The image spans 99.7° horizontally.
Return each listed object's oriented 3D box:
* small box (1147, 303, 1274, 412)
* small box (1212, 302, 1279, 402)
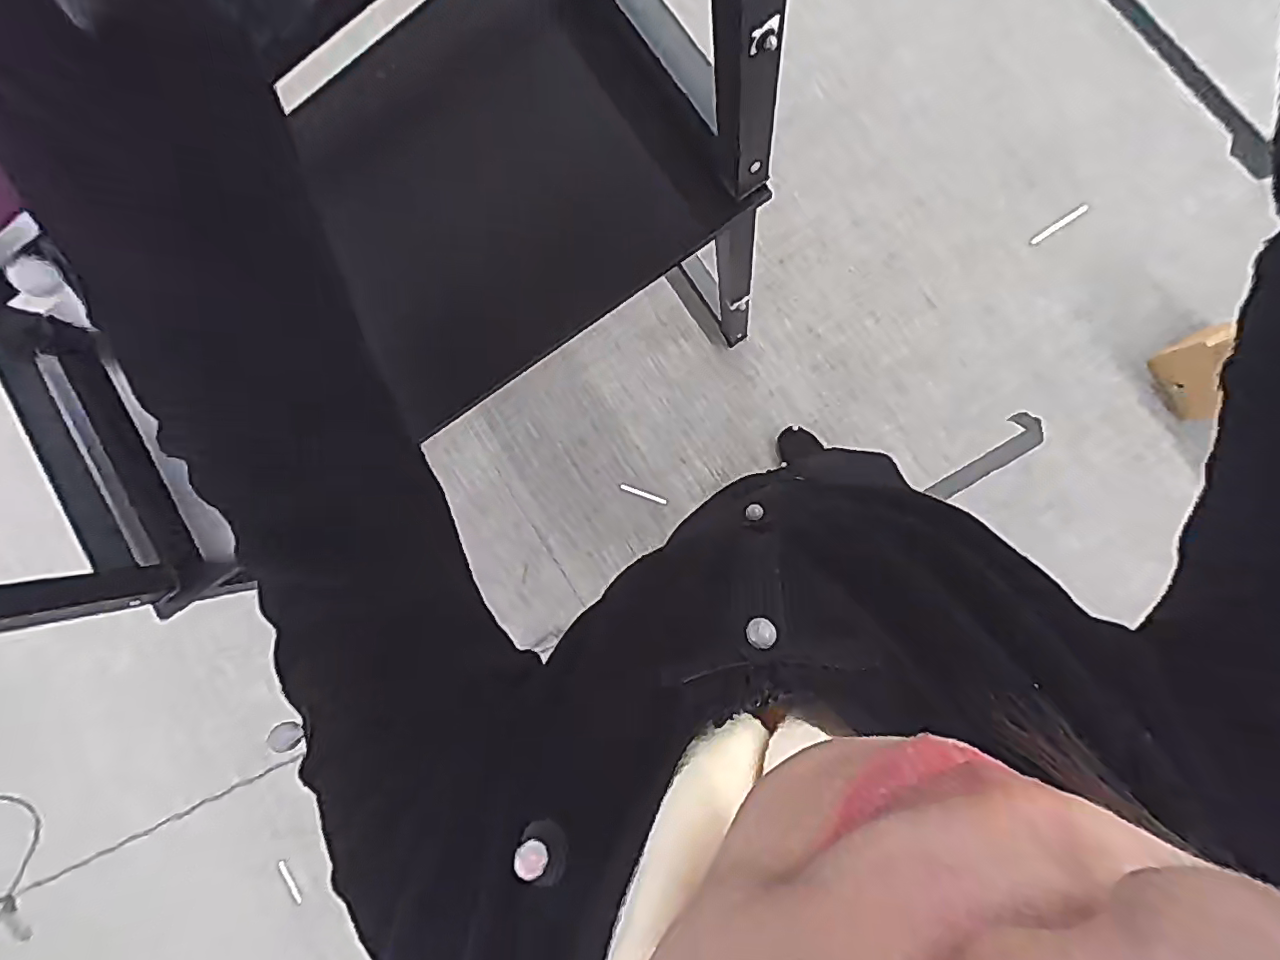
[{"bbox_3d":[1.337,-0.268,1.233,0.168,0.176,0.179,-28,85,7],"label":"small box"},{"bbox_3d":[1.327,-0.270,1.069,0.168,0.176,0.179,-32,83,6],"label":"small box"}]
